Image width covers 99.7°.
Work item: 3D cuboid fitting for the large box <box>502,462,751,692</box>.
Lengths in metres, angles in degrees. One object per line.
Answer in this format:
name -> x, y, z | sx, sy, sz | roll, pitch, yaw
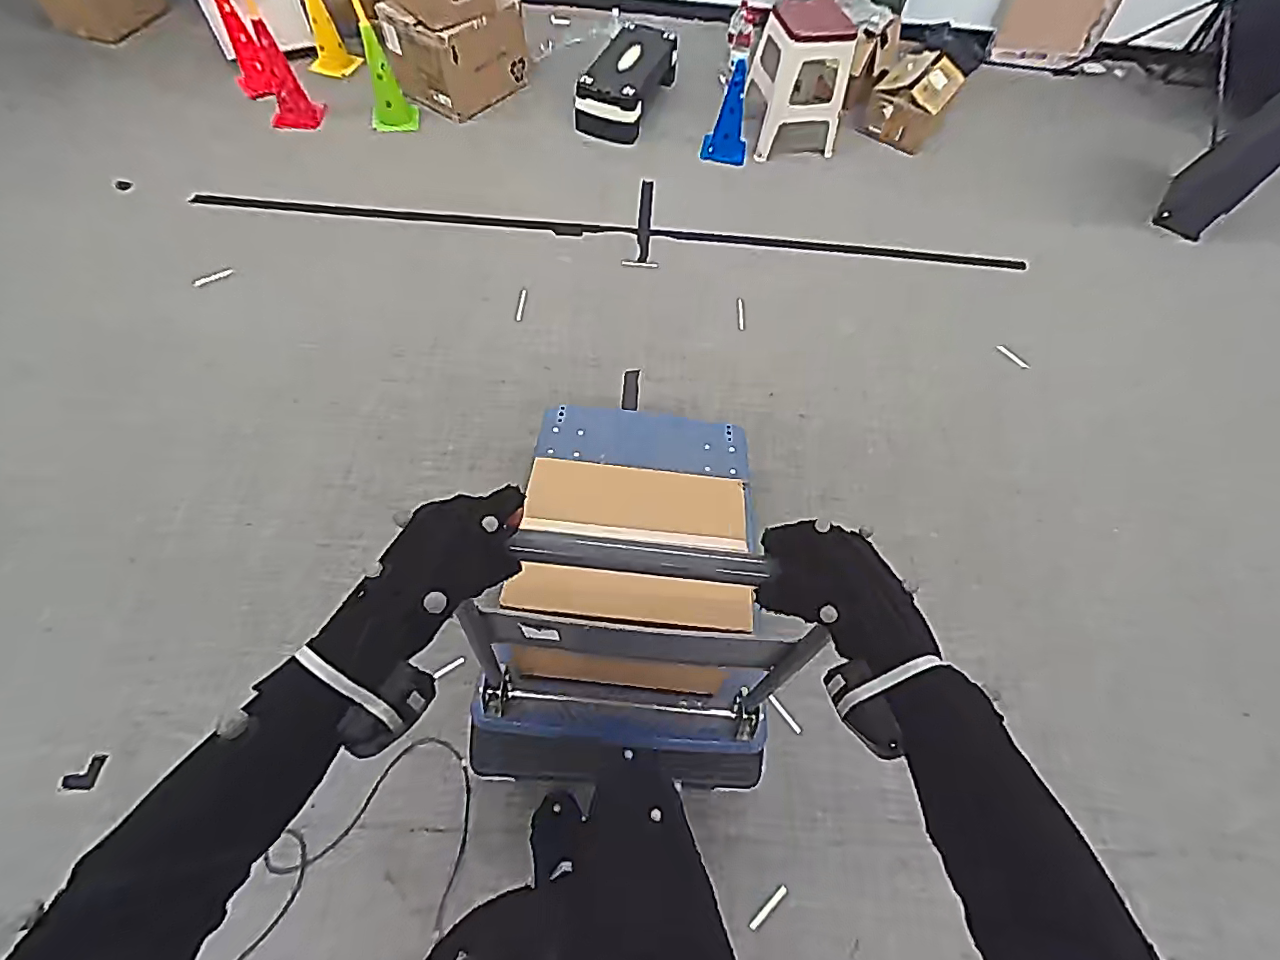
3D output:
large box -> -0.029, 0.196, 1.055 | 0.408, 0.320, 0.320 | 7, 51, -2
